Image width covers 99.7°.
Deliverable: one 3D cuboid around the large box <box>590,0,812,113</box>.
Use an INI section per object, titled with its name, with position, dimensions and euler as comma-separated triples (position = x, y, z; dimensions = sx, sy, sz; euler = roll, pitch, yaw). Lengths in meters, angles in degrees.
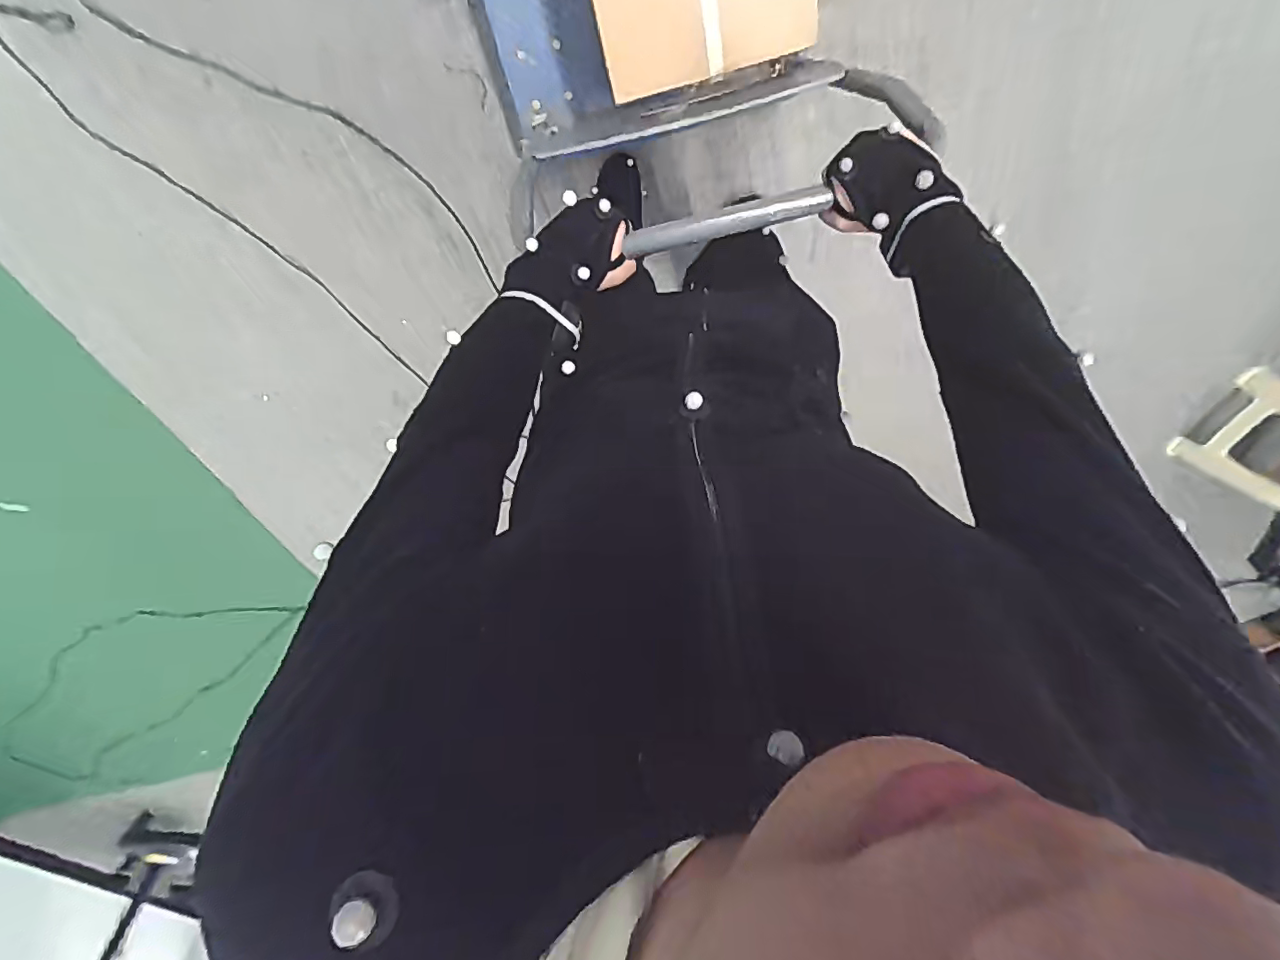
[large box]
position = 0.060, -0.855, 0.841
dimensions = 0.320, 0.320, 0.408
euler = -13, 127, 6
